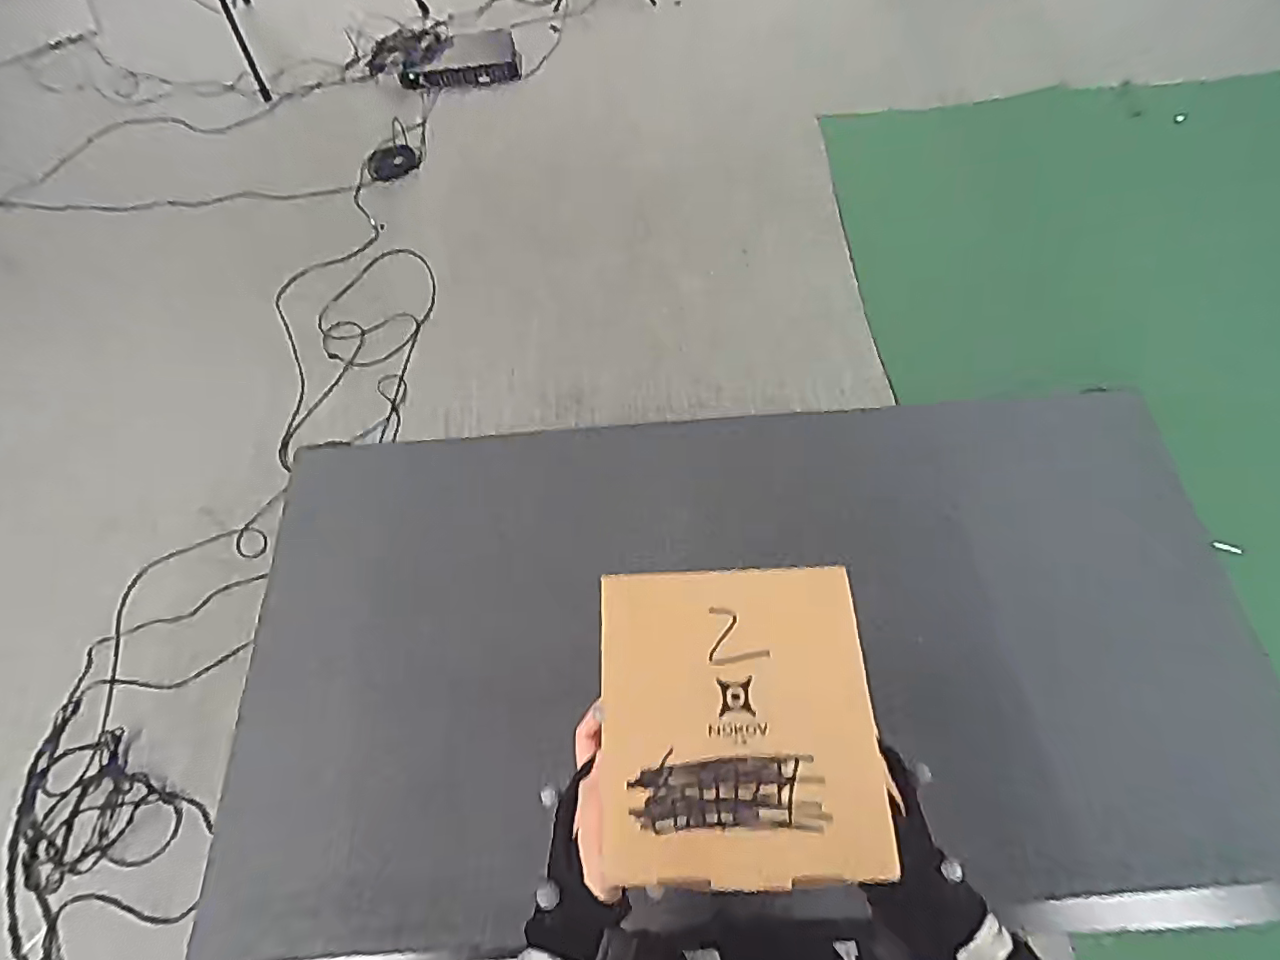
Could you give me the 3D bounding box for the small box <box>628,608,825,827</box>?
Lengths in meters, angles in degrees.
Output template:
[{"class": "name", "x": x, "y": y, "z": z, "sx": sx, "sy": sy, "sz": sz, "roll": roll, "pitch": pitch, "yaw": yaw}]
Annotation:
[{"class": "small box", "x": 0.077, "y": 0.234, "z": 0.551, "sx": 0.168, "sy": 0.176, "sz": 0.179, "roll": 0, "pitch": 67, "yaw": 4}]
